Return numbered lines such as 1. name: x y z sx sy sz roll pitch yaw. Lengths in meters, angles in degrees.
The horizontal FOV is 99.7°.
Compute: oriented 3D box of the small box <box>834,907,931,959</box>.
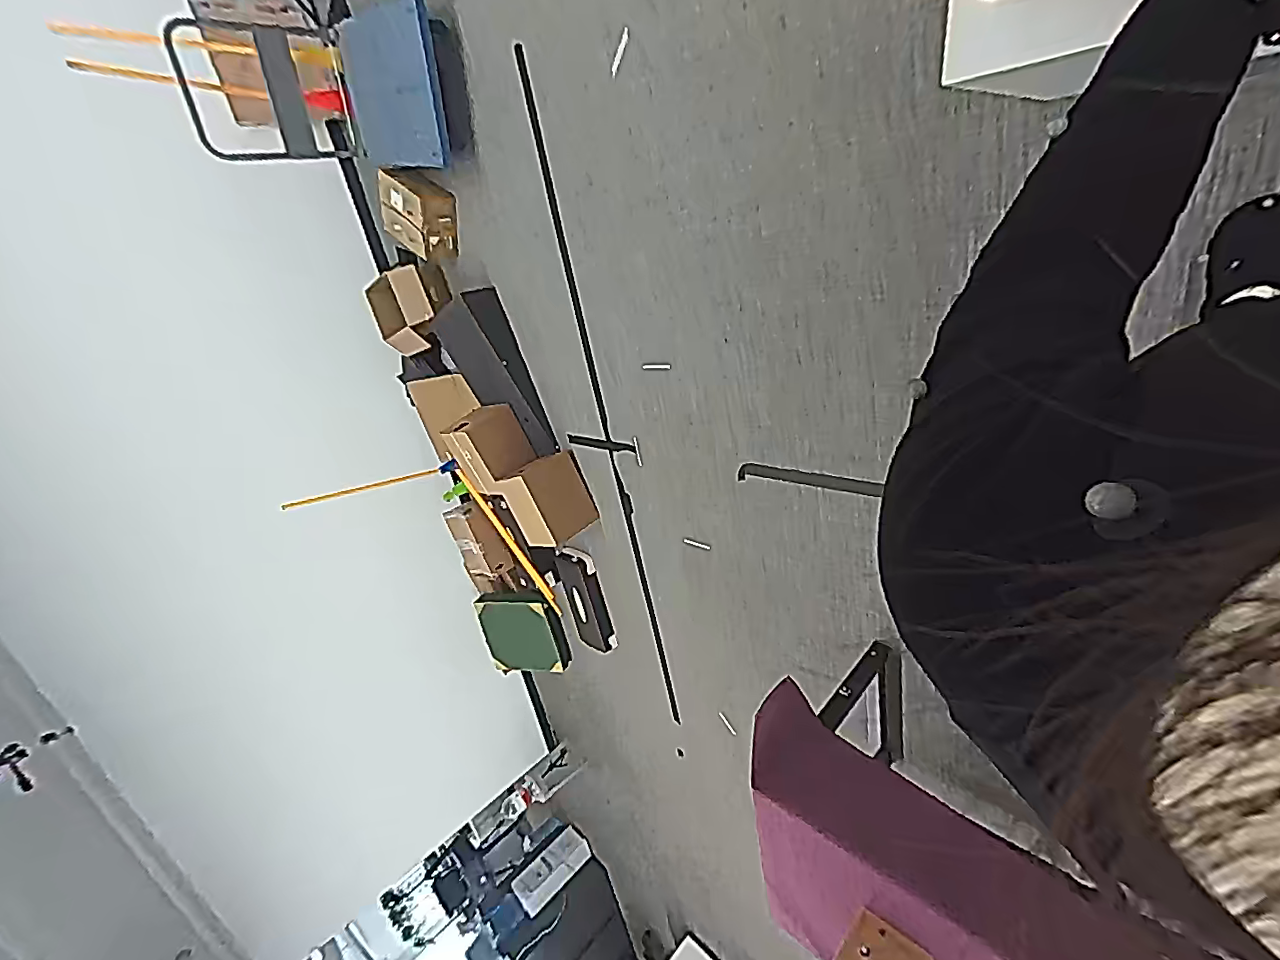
1. small box: 0.559 1.150 1.246 0.168 0.176 0.179 13 123 46
